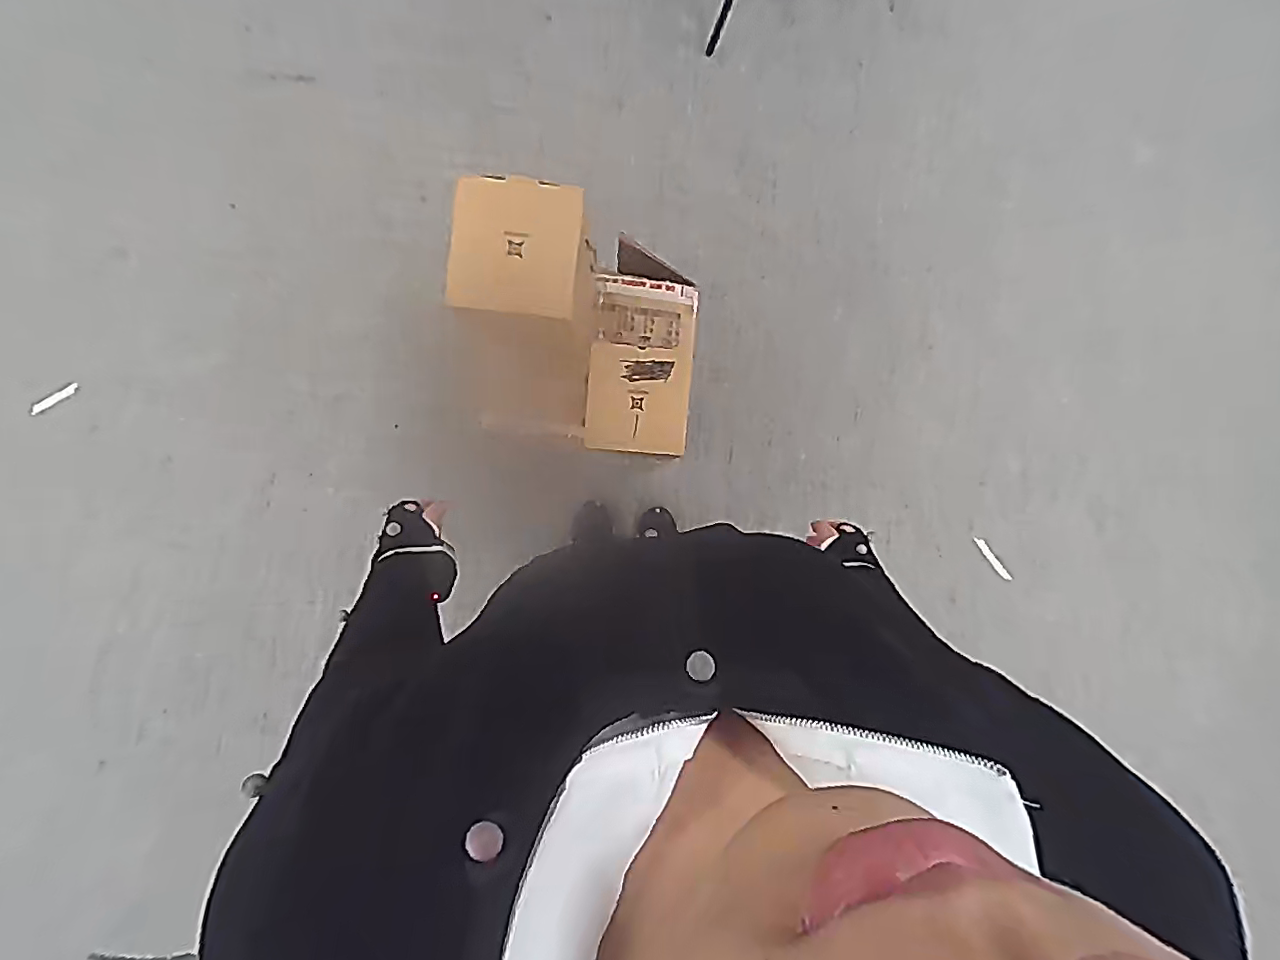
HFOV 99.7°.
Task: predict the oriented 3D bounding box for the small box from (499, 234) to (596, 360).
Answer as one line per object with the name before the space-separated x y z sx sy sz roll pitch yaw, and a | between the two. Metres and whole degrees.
small box | -0.169 -0.322 0.943 0.168 0.176 0.179 6 90 -1

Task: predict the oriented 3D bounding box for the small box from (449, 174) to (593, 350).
small box | -0.160 -0.302 0.780 0.168 0.176 0.179 6 90 -1

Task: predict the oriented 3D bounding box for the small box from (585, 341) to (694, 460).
small box | -0.005 -0.131 0.949 0.168 0.176 0.179 5 90 -3
